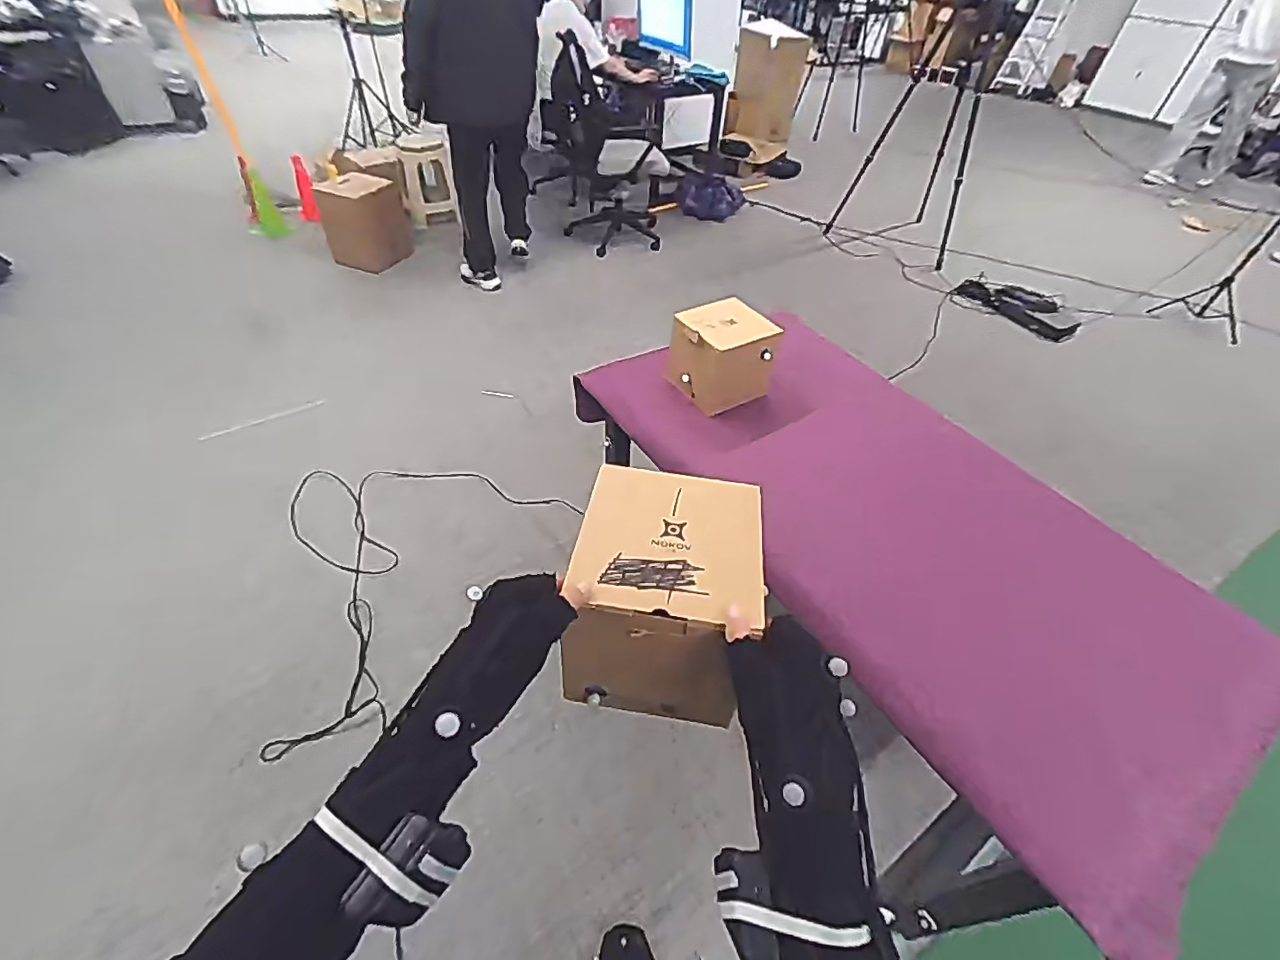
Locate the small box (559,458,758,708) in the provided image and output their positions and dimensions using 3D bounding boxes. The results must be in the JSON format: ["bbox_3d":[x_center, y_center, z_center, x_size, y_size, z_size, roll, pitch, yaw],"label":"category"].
[{"bbox_3d":[0.023,0.104,0.549,0.168,0.176,0.179,8,41,4],"label":"small box"}]

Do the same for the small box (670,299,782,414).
[{"bbox_3d":[0.183,-0.276,1.209,0.179,0.176,0.168,-23,51,-24],"label":"small box"}]
